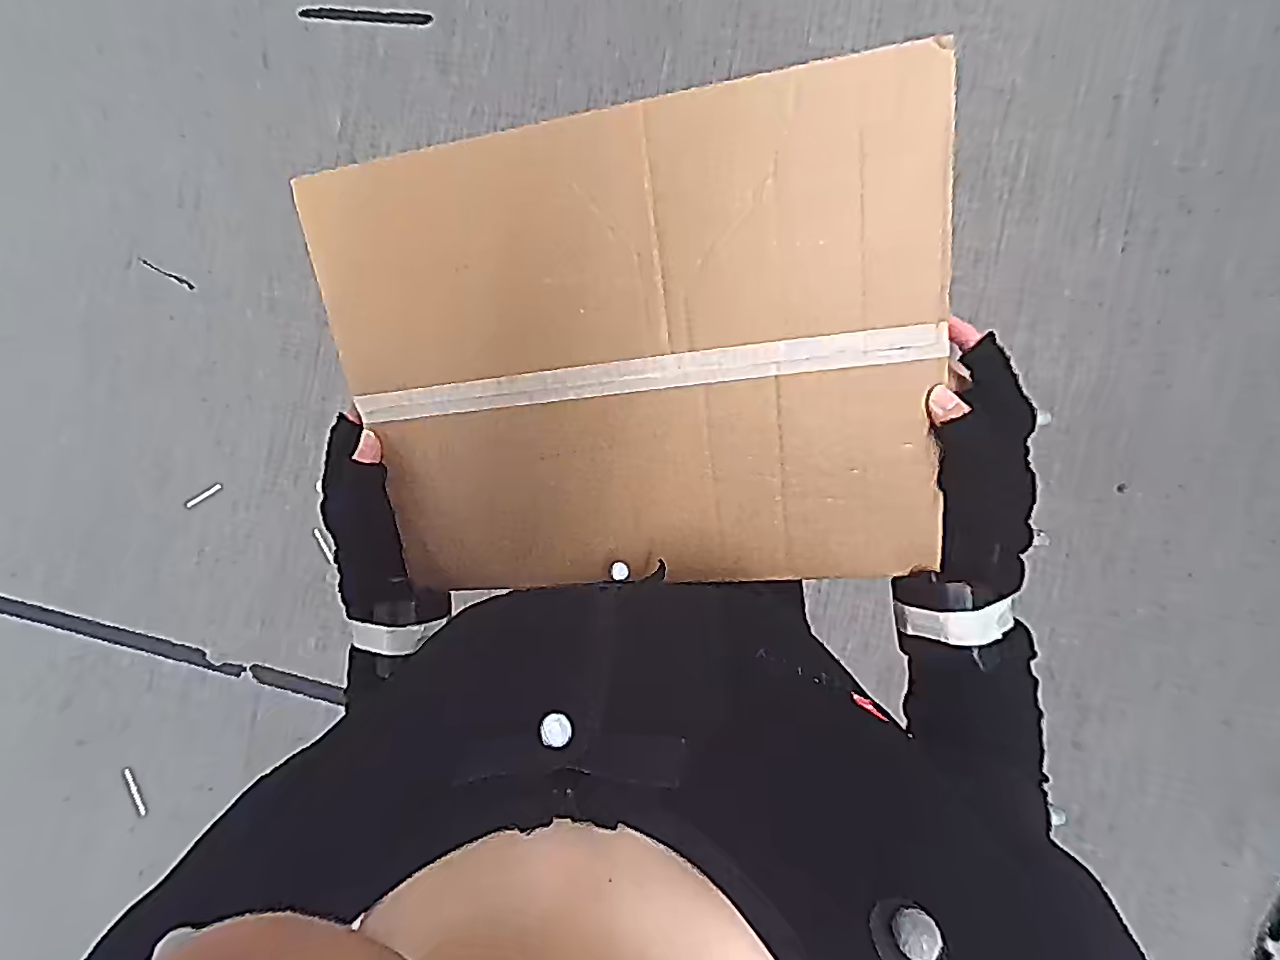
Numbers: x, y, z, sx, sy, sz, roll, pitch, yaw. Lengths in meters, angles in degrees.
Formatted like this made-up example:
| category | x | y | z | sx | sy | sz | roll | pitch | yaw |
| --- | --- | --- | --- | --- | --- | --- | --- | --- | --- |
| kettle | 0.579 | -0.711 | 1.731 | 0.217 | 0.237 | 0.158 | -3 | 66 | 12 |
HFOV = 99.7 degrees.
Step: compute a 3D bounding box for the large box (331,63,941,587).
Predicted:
| category | x | y | z | sx | sy | sz | roll | pitch | yaw |
| --- | --- | --- | --- | --- | --- | --- | --- | --- | --- |
| large box | 0.018 | -0.115 | 0.520 | 0.408 | 0.320 | 0.320 | -4 | 108 | 12 |
